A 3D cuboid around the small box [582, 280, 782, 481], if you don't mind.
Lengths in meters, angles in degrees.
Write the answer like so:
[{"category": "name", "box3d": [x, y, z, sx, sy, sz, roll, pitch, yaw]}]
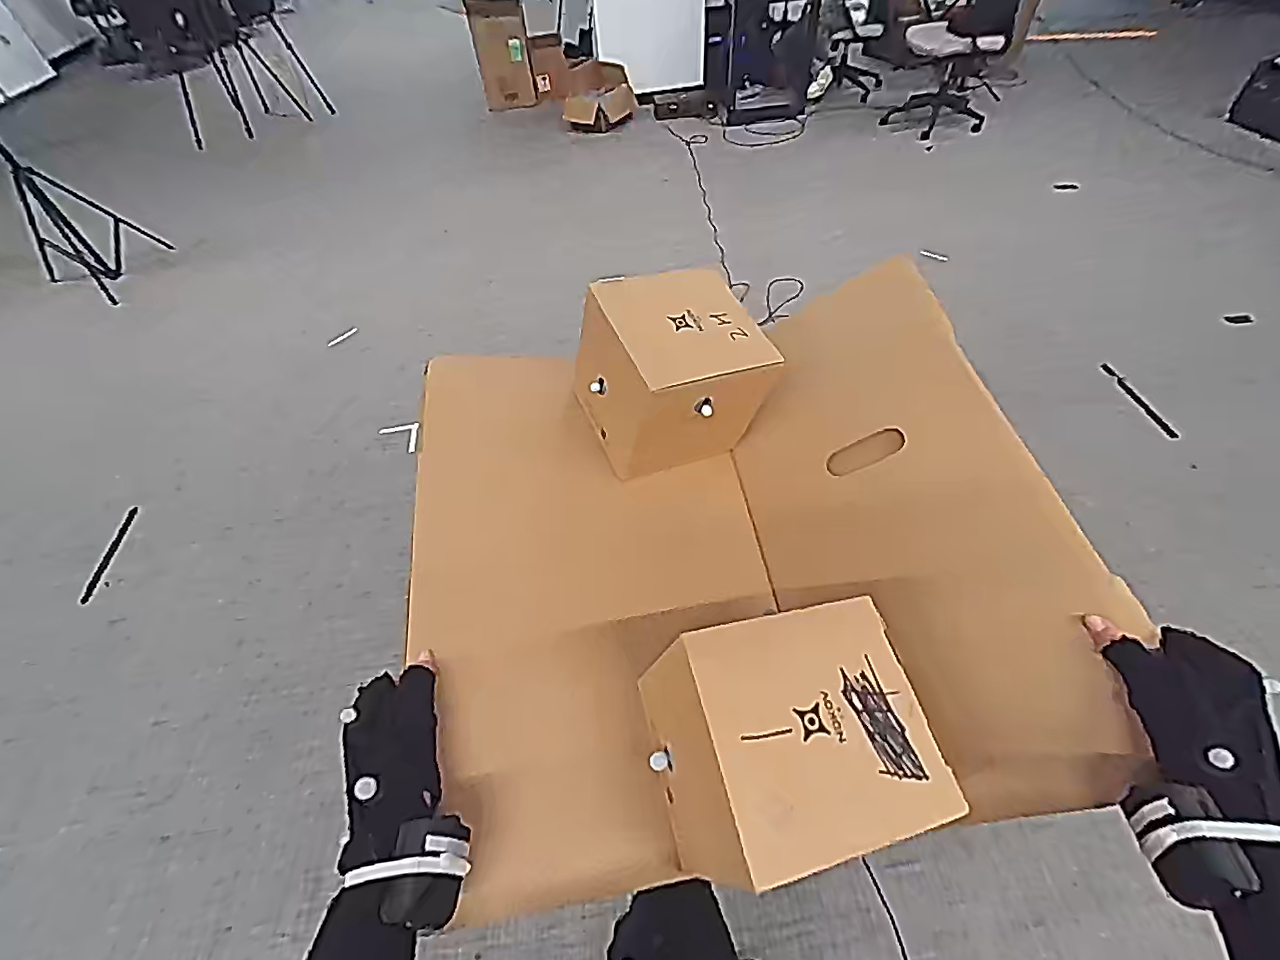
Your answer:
[{"category": "small box", "box3d": [0.036, -0.119, 0.671, 0.179, 0.176, 0.168, -15, 62, -23]}]
